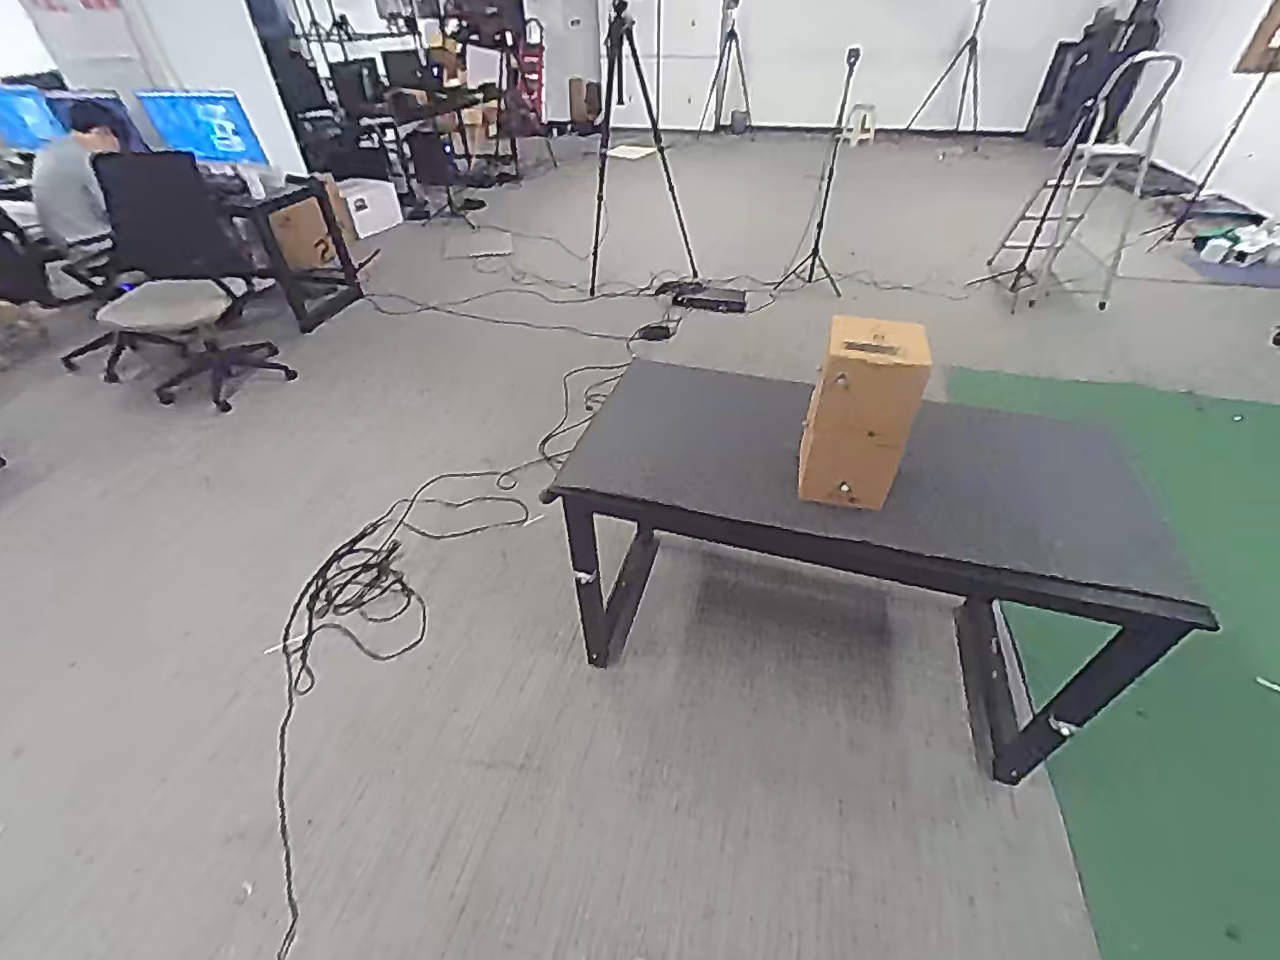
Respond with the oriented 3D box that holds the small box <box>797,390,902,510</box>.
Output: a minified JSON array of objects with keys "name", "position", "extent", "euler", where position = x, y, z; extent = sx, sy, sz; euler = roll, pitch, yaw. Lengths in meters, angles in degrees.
[{"name":"small box","position":[0.425,-0.064,1.124],"extent":[0.168,0.176,0.179],"euler":[8,40,11]}]
